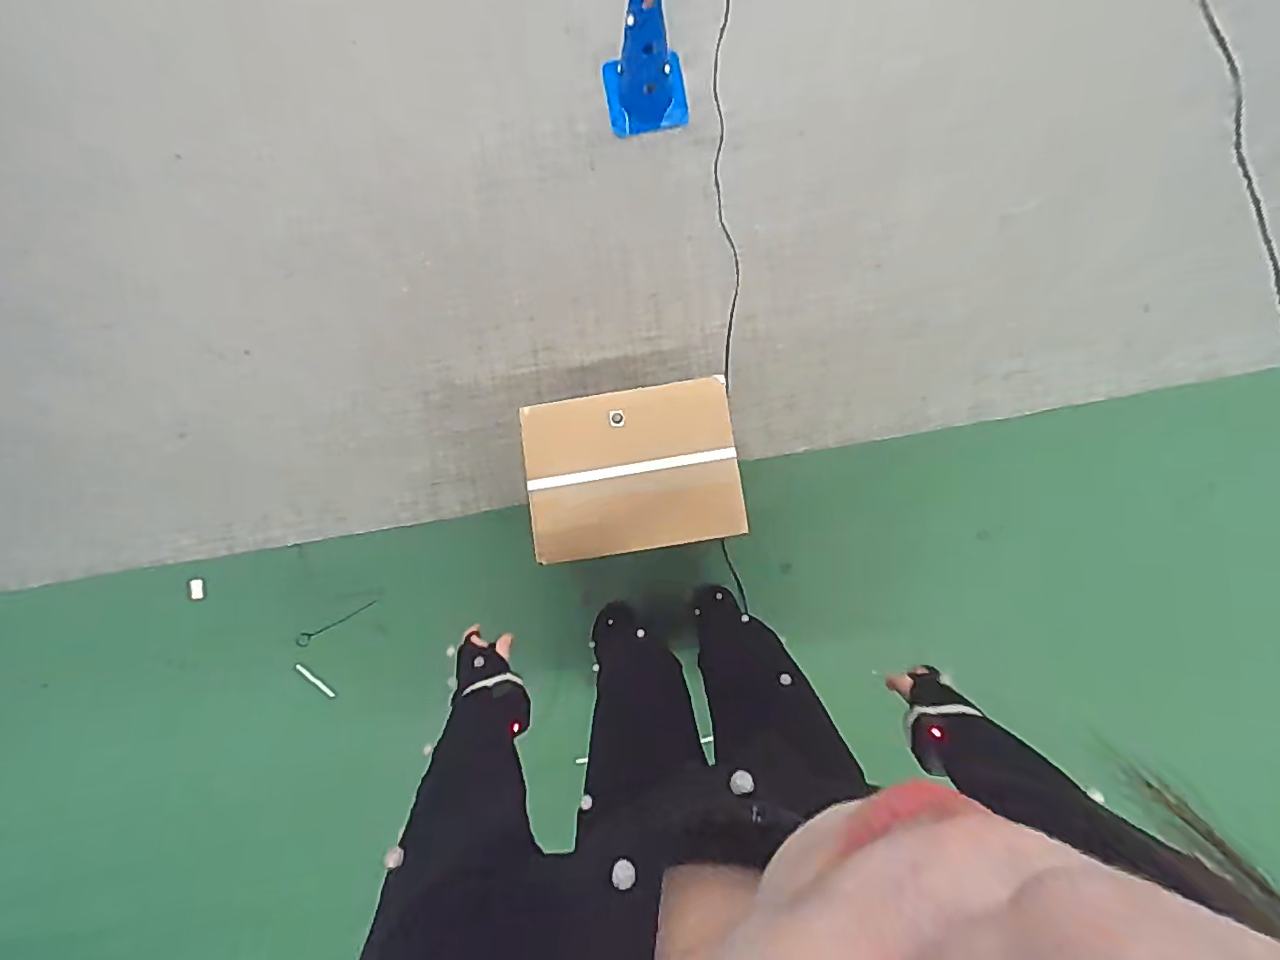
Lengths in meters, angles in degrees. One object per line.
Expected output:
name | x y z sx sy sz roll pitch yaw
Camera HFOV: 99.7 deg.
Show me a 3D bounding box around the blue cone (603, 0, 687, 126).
blue cone | 0.008 -0.992 1.188 0.193 0.380 0.192 -13 88 2
